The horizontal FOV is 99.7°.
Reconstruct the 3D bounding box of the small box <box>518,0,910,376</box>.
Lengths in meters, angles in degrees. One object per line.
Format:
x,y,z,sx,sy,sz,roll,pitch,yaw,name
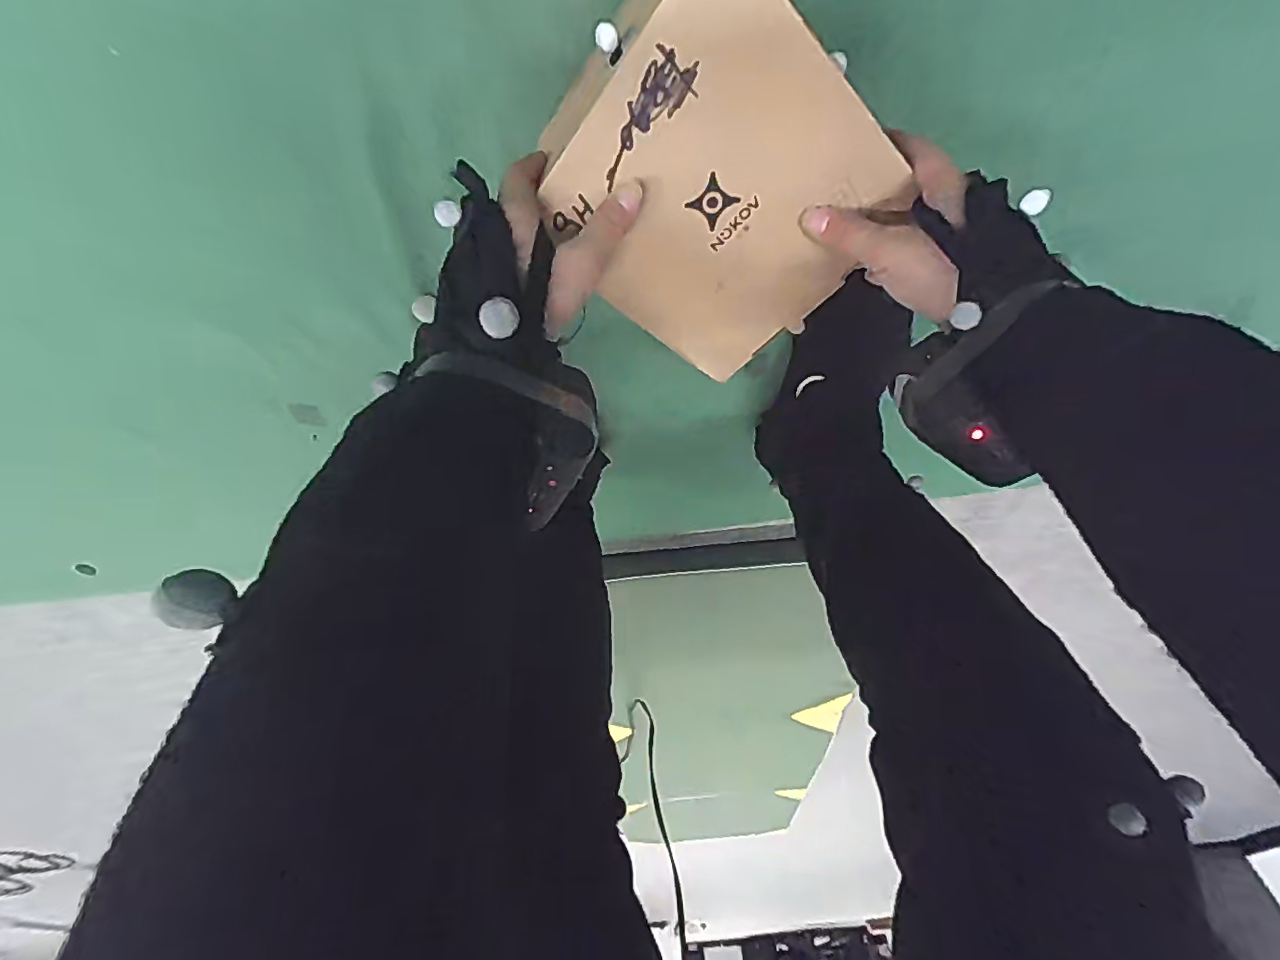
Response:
0.041,-0.213,0.372,0.179,0.176,0.168,29,127,-29,small box
